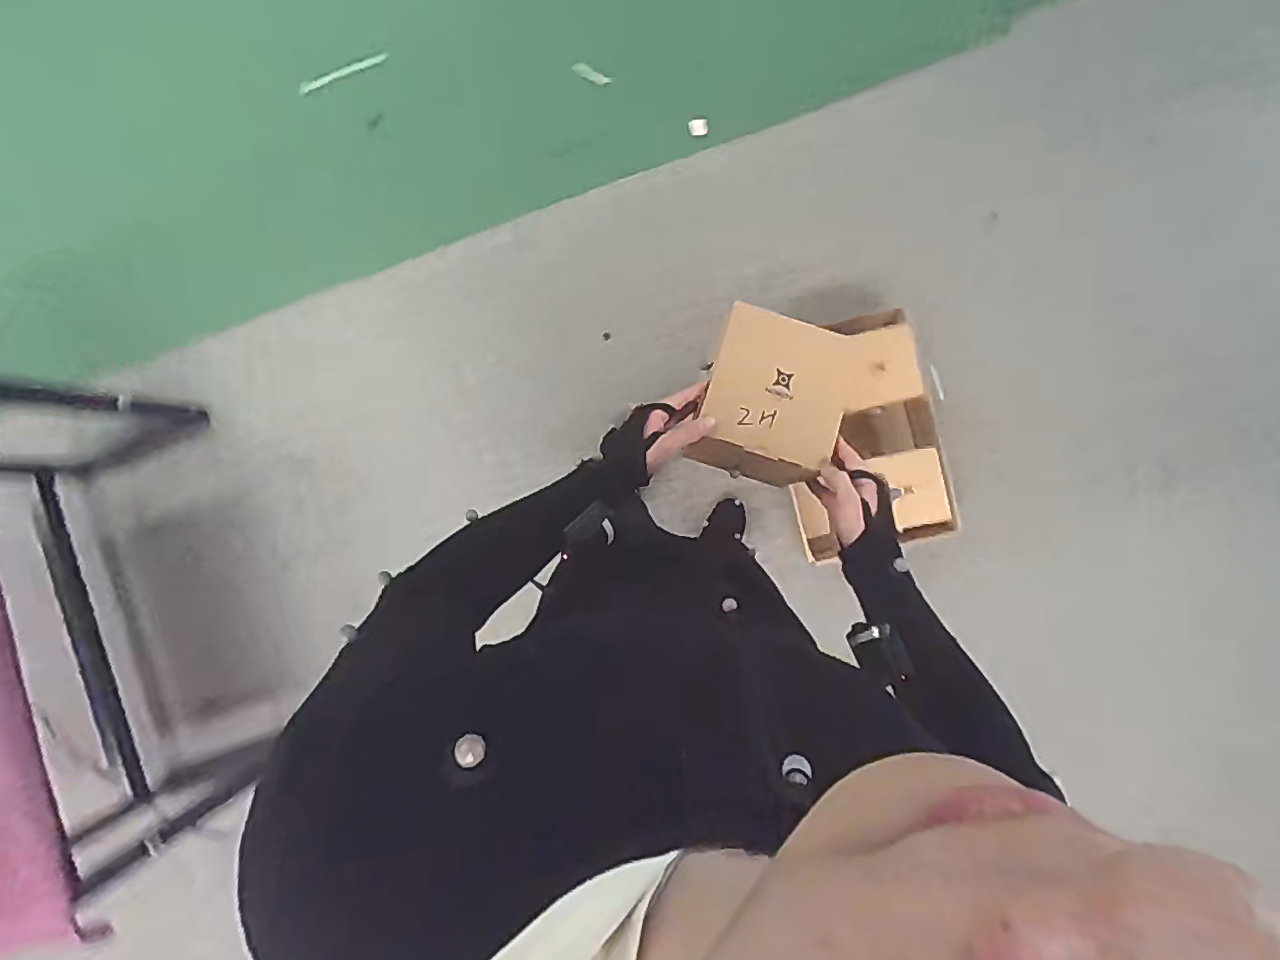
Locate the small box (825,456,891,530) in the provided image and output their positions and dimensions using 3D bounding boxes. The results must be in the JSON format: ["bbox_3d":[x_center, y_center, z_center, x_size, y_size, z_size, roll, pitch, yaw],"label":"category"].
[{"bbox_3d":[0.614,0.032,1.438,0.179,0.176,0.168,-13,87,6],"label":"small box"}]

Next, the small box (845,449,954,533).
[{"bbox_3d":[0.597,0.028,1.274,0.179,0.176,0.168,-11,87,4],"label":"small box"}]

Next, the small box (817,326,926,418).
[{"bbox_3d":[0.540,-0.249,1.283,0.179,0.176,0.168,-13,90,5],"label":"small box"}]
